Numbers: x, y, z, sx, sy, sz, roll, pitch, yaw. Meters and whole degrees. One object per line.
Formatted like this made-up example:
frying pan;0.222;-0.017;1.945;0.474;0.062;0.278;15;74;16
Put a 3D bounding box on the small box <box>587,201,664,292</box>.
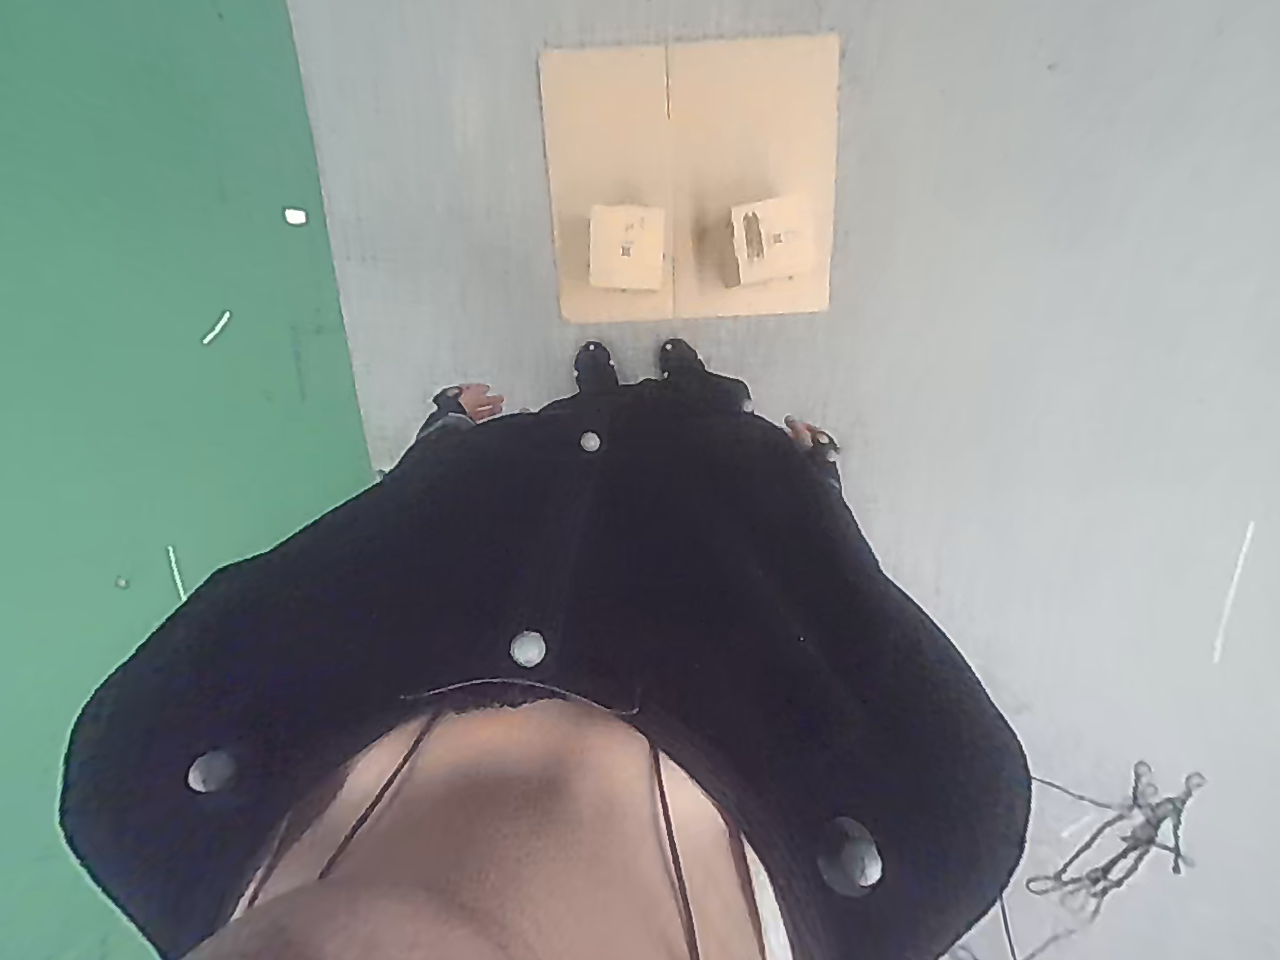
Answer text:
small box;-0.034;-0.542;1.276;0.168;0.176;0.179;3;106;-2
